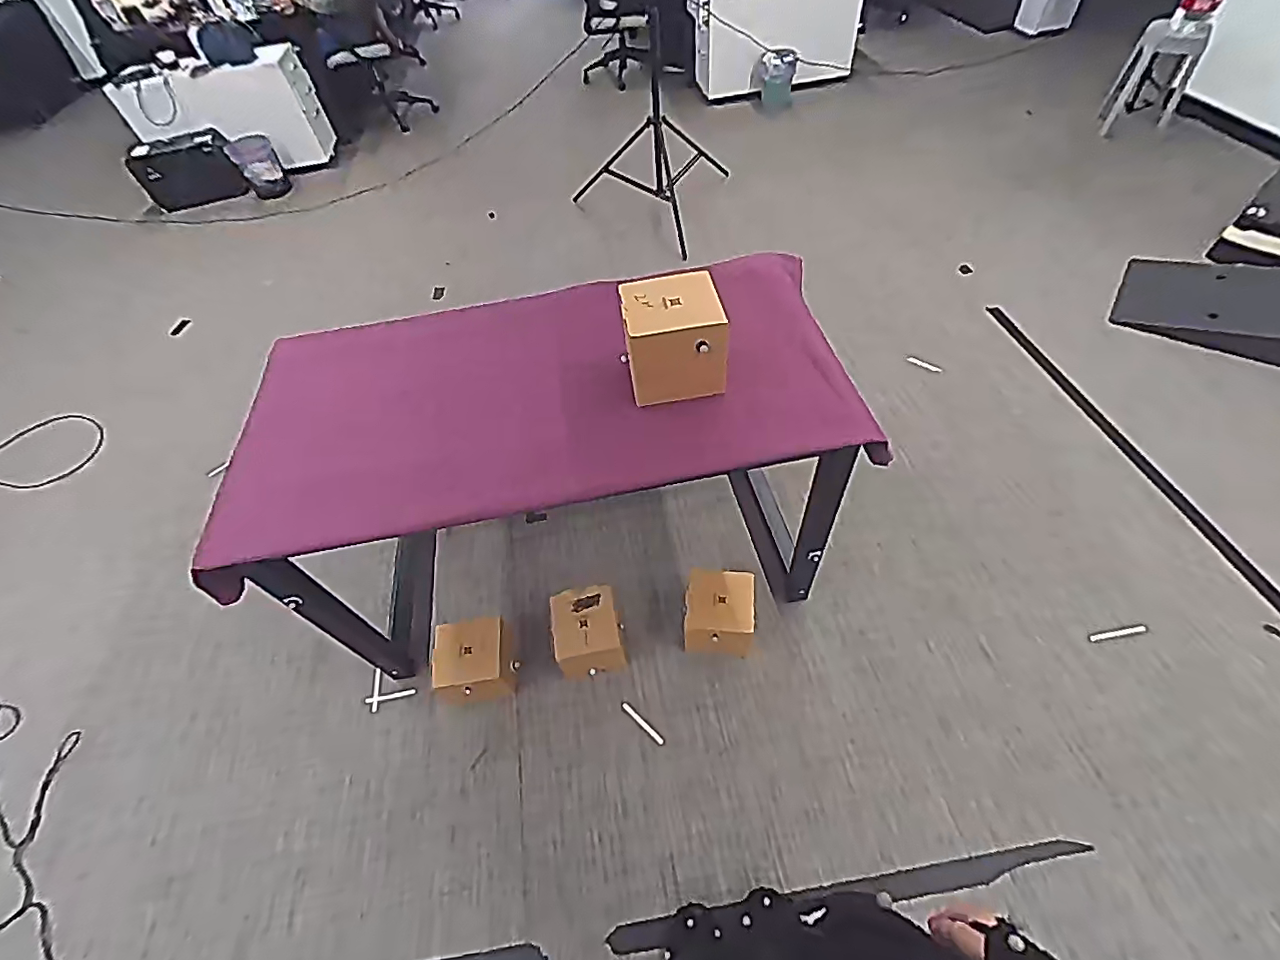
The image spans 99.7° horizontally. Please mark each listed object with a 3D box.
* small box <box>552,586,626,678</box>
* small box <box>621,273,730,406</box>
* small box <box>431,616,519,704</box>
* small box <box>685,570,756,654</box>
[{"bbox_3d":[-0.136,0.413,1.461,0.168,0.176,0.179,-11,54,-2],"label":"small box"},{"bbox_3d":[0.066,-0.264,1.032,0.179,0.176,0.168,-10,52,0],"label":"small box"},{"bbox_3d":[-0.432,0.484,1.443,0.179,0.176,0.168,-8,53,-1],"label":"small box"},{"bbox_3d":[0.217,0.361,1.463,0.179,0.176,0.168,2,54,9],"label":"small box"}]
